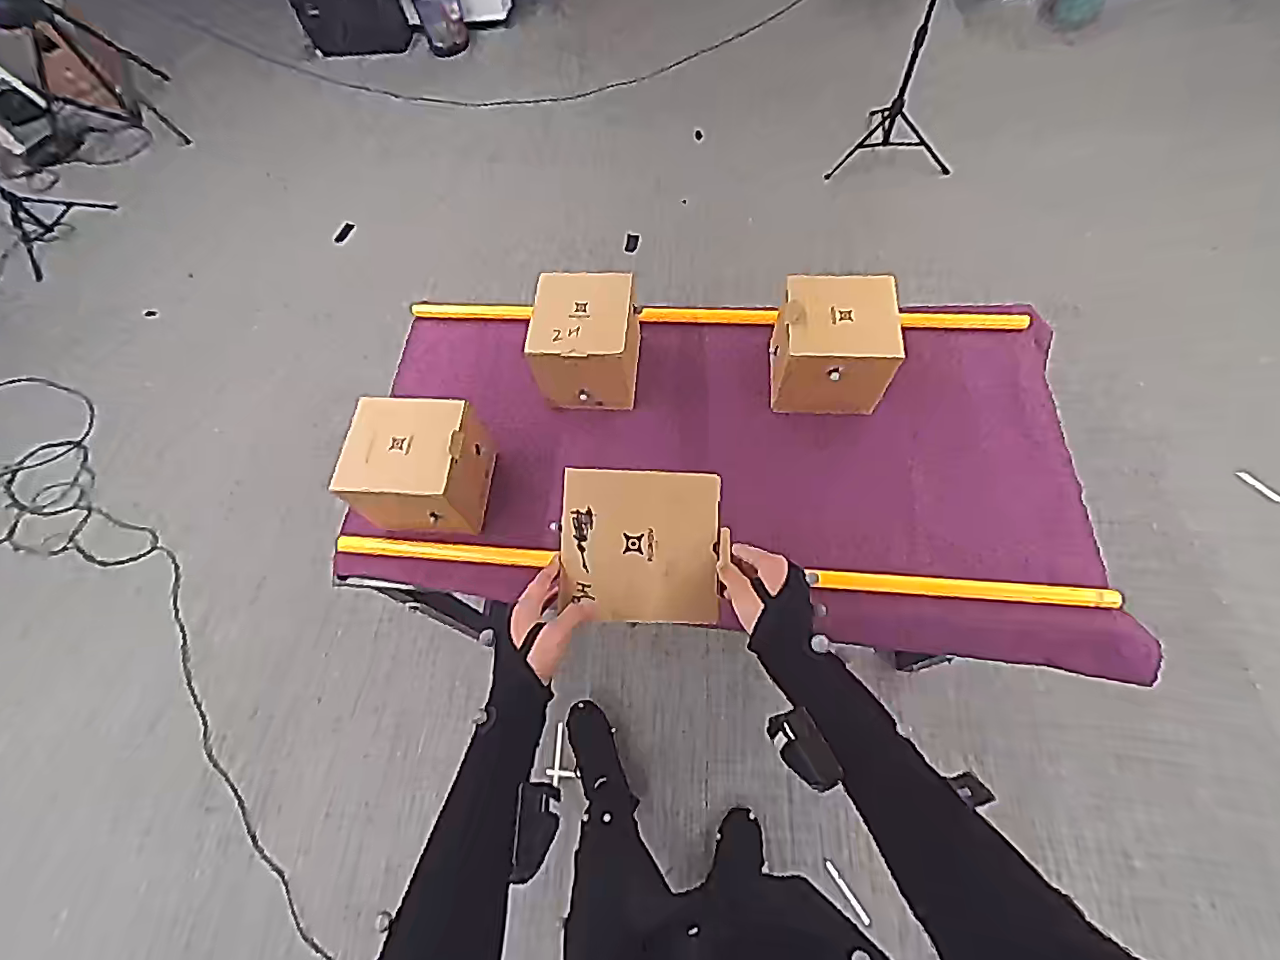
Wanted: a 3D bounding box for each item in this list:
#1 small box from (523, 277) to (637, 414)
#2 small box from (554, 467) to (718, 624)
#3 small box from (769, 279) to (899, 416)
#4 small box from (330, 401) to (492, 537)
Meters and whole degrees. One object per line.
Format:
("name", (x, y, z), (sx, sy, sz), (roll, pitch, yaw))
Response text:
("small box", (-0.098, -0.240, 0.978), (0.168, 0.176, 0.179), (2, 66, 6))
("small box", (-0.008, 0.083, 0.669), (0.179, 0.176, 0.168), (3, 80, -4))
("small box", (0.323, -0.223, 0.935), (0.179, 0.176, 0.168), (2, 65, 7))
("small box", (-0.358, -0.012, 0.886), (0.179, 0.176, 0.168), (2, 64, 4))
